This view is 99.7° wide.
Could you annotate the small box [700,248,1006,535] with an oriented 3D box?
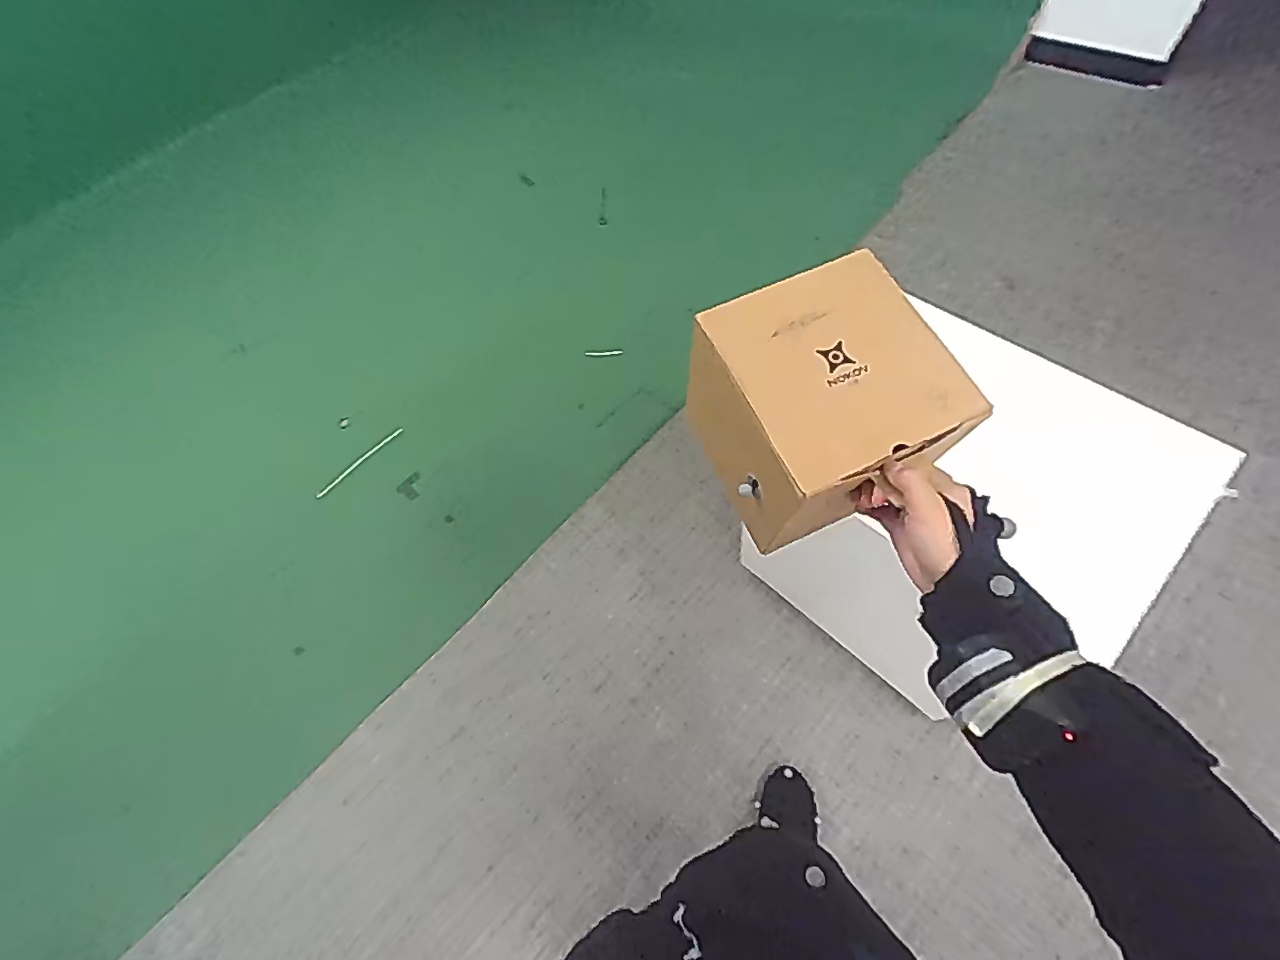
[{"bbox_3d":[0.167,-0.064,0.492,0.168,0.176,0.179,-22,68,-8],"label":"small box"}]
